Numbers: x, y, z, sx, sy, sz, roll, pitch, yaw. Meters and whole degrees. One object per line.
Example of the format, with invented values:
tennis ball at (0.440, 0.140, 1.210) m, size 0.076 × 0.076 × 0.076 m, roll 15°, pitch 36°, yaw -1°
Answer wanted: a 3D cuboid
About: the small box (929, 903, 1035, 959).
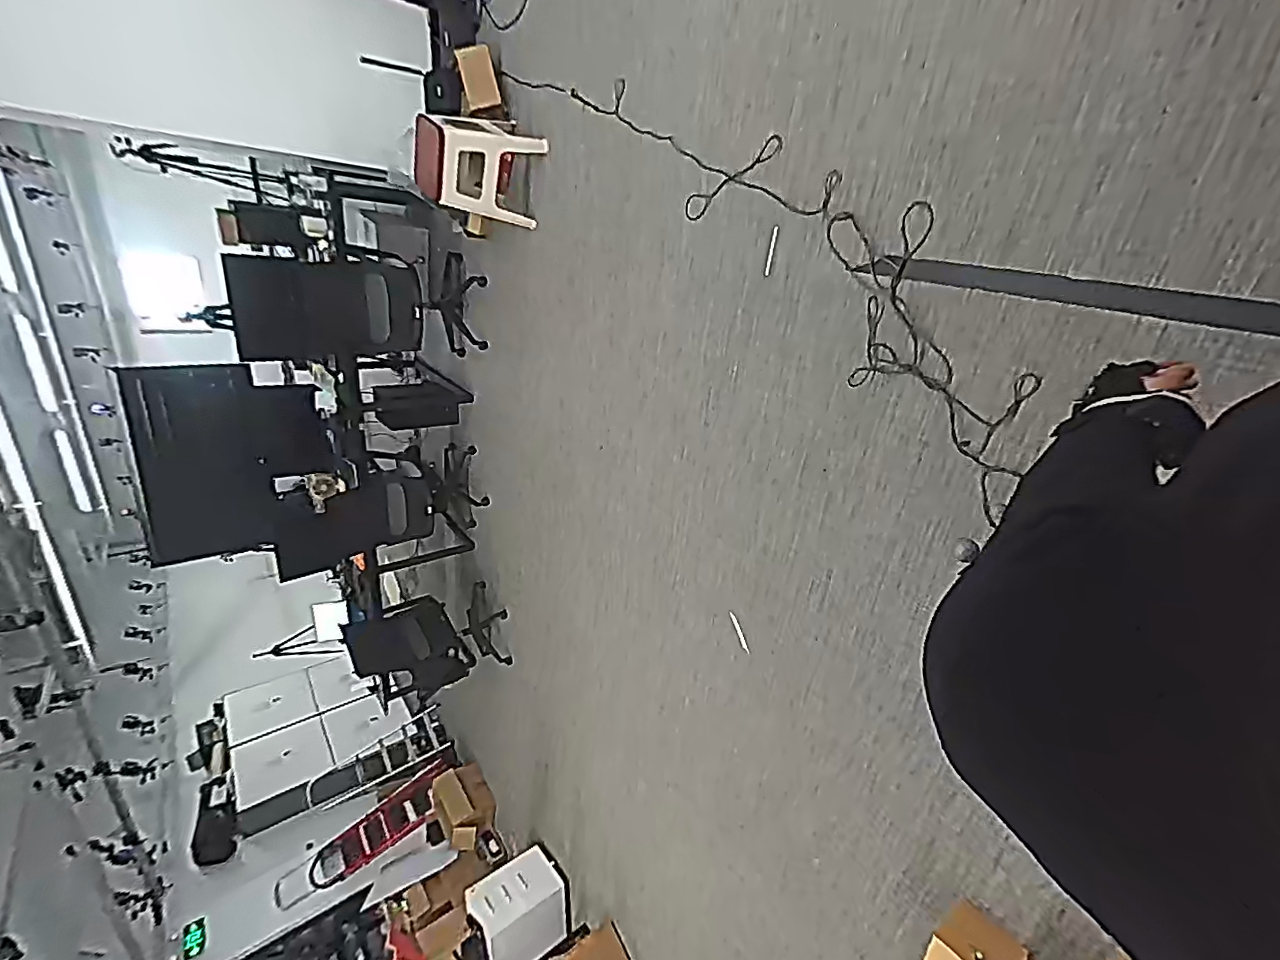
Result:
small box at (0.900, 1.277, 1.432) m, size 0.179 × 0.176 × 0.168 m, roll 26°, pitch 120°, yaw 45°
